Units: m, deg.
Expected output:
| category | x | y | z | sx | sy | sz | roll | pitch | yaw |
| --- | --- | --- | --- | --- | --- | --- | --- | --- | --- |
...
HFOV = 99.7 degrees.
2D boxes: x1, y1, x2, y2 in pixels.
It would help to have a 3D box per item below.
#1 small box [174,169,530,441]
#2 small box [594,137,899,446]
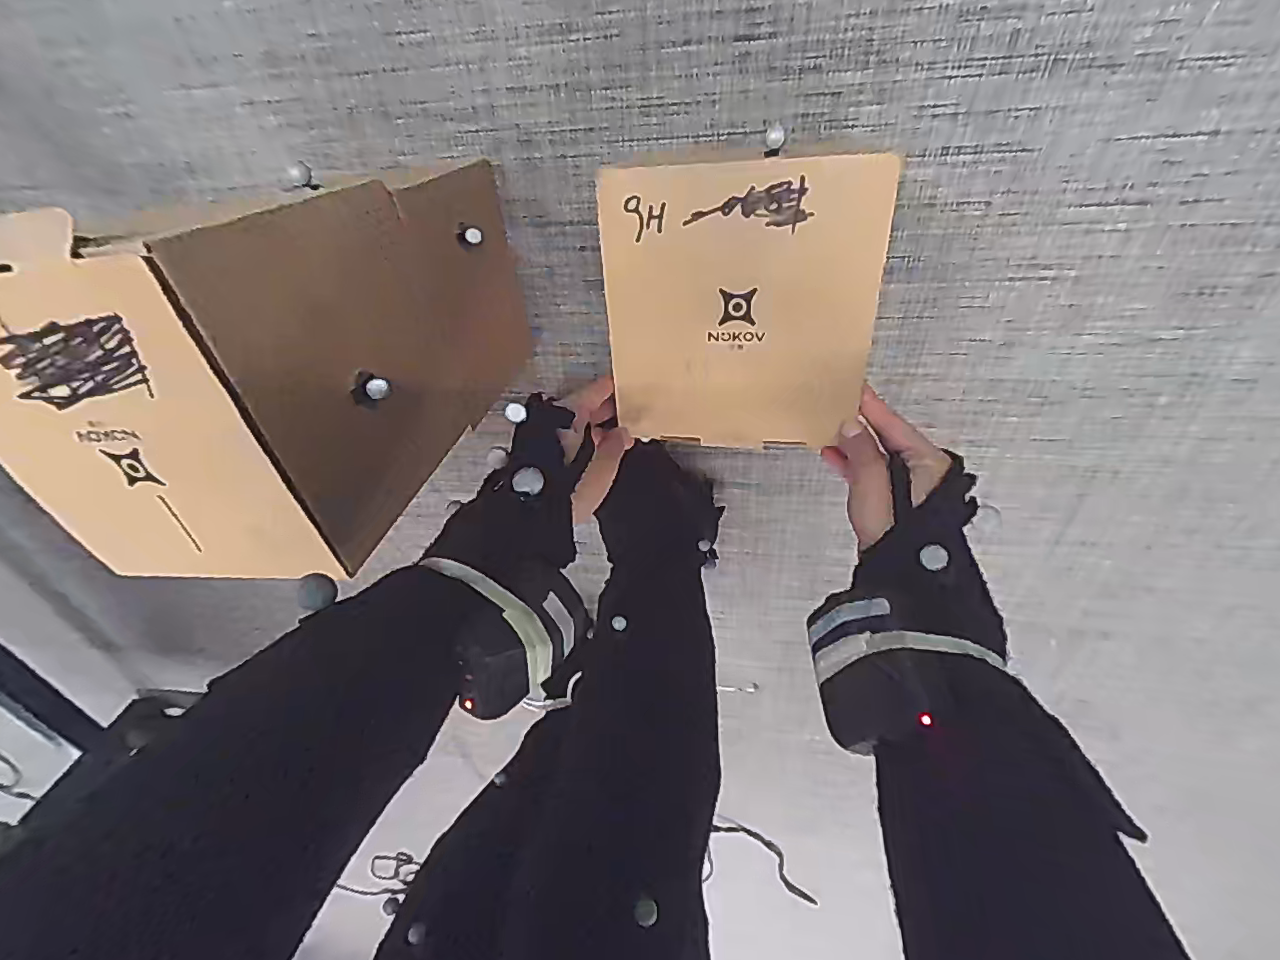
| category | x | y | z | sx | sy | sz | roll | pitch | yaw |
| --- | --- | --- | --- | --- | --- | --- | --- | --- | --- |
| small box | -0.209 | -0.151 | 0.455 | 0.168 | 0.176 | 0.179 | -1 | 126 | 11 |
| small box | 0.072 | -0.143 | 0.400 | 0.168 | 0.176 | 0.179 | 2 | 124 | 10 |
